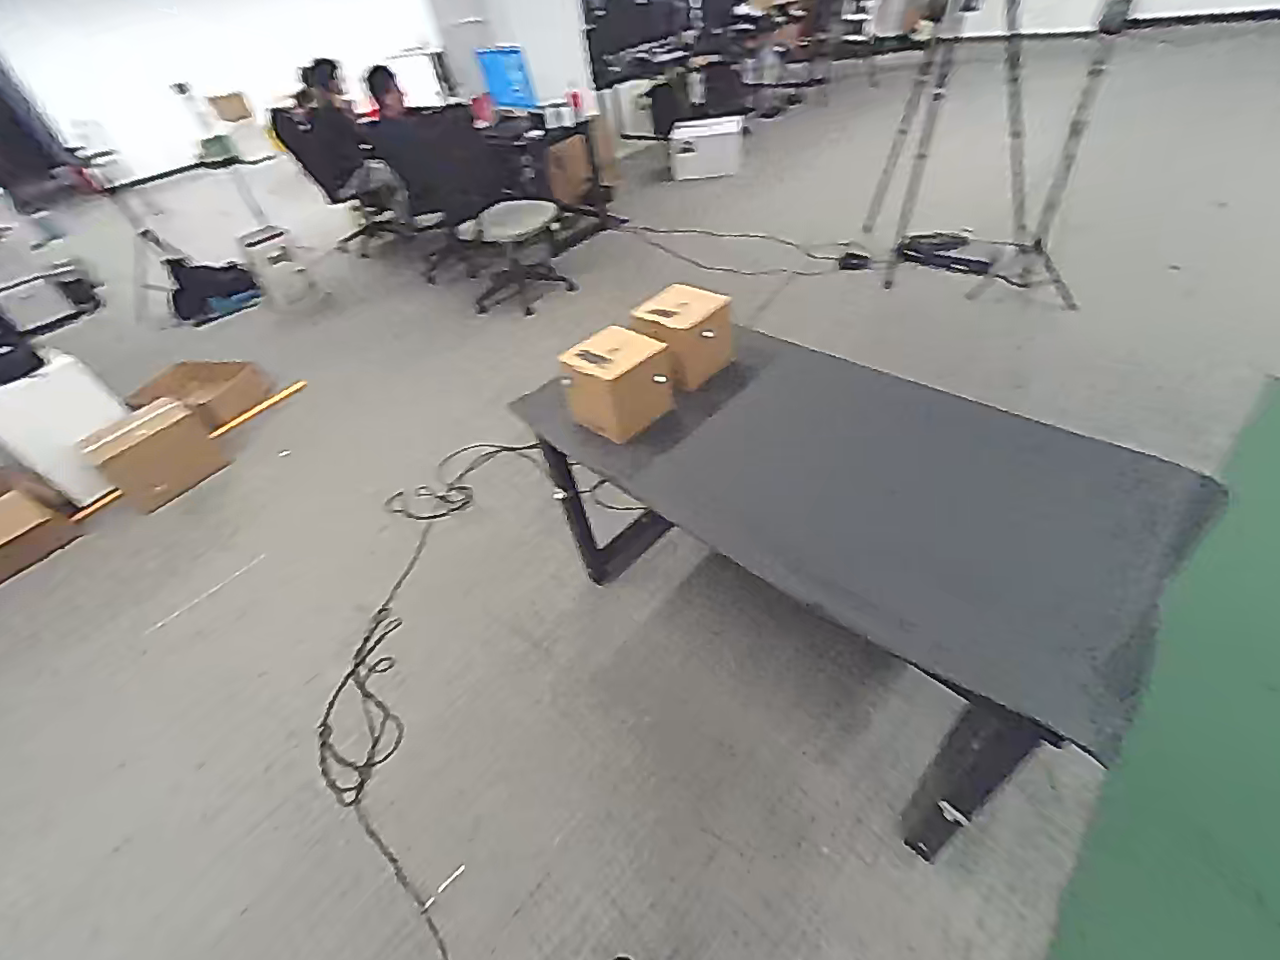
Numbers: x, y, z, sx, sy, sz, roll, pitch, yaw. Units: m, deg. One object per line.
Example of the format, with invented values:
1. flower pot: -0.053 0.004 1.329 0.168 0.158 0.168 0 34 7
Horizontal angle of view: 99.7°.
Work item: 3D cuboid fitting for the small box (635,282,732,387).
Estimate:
1. small box: 0.114 -0.352 1.316 0.168 0.176 0.179 30 57 35
